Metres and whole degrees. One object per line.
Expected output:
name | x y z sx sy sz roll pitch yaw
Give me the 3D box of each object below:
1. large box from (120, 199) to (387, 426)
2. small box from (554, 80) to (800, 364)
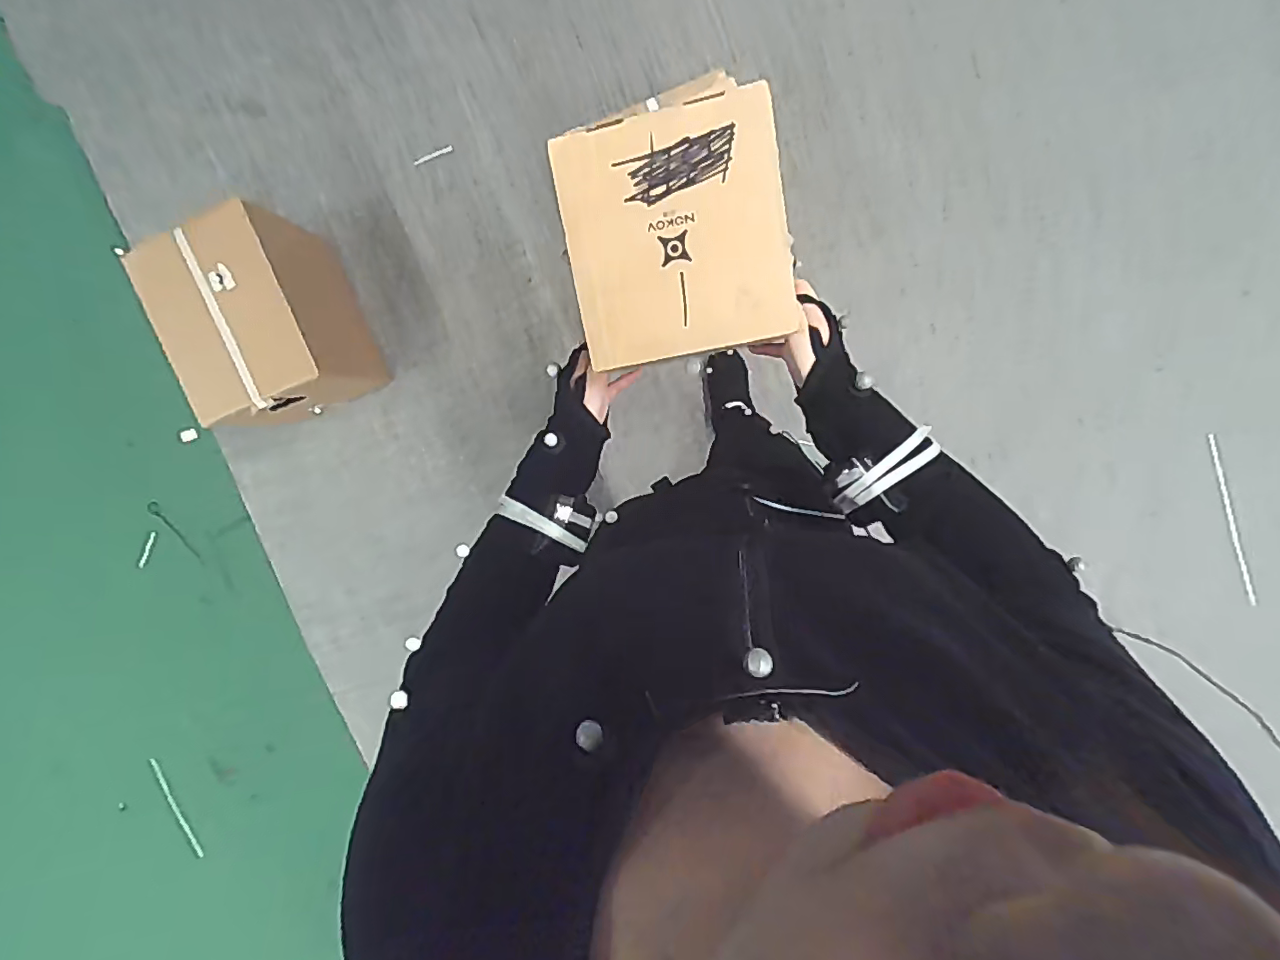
large box | -0.903 -0.376 1.317 0.320 0.320 0.408 -21 96 6
small box | 0.037 -0.205 0.486 0.168 0.176 0.179 -9 101 9
